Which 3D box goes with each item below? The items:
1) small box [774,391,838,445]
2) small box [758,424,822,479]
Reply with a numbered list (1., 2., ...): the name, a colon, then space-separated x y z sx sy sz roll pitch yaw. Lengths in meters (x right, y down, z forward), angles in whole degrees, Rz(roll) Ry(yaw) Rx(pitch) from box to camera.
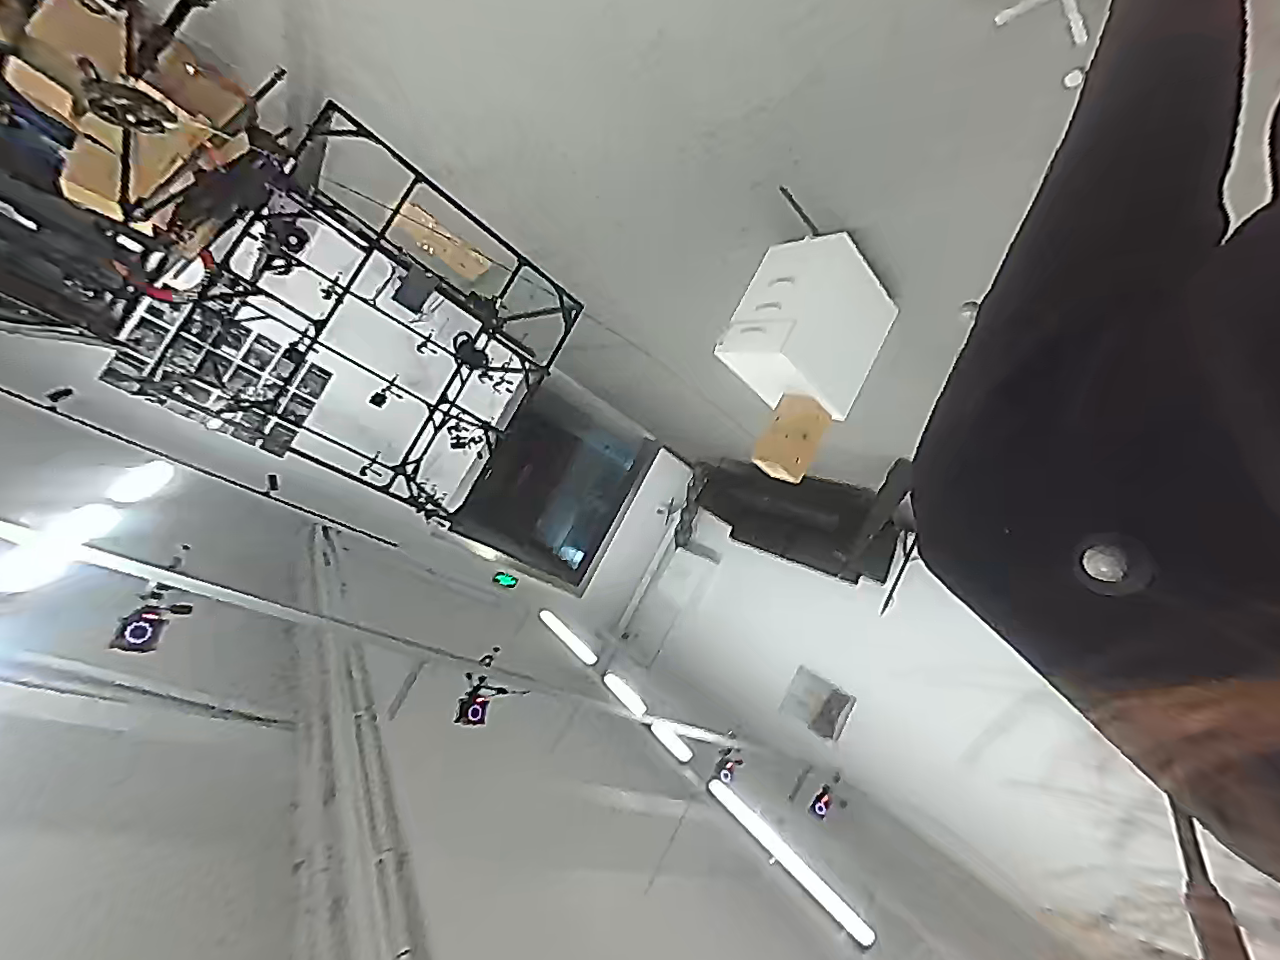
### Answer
1. small box: 0.730 -0.274 2.366 0.168 0.176 0.179 31 175 -34
2. small box: 0.655 -0.128 2.349 0.179 0.176 0.168 31 175 -34
